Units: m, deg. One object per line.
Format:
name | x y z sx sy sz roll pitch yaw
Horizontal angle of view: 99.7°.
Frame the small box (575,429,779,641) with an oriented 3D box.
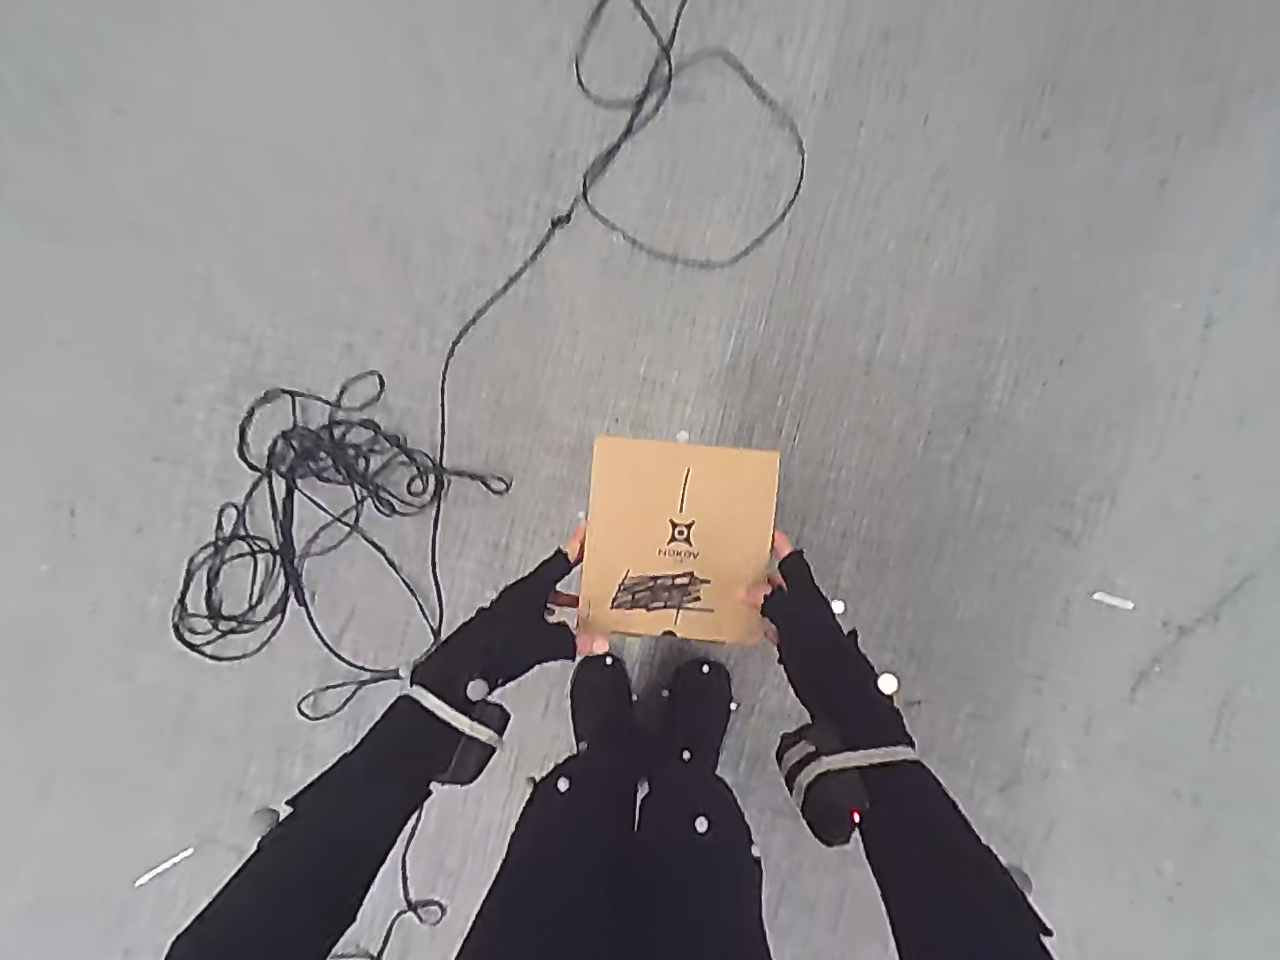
small box | 0.031 0.046 0.554 0.168 0.176 0.179 6 92 -2
